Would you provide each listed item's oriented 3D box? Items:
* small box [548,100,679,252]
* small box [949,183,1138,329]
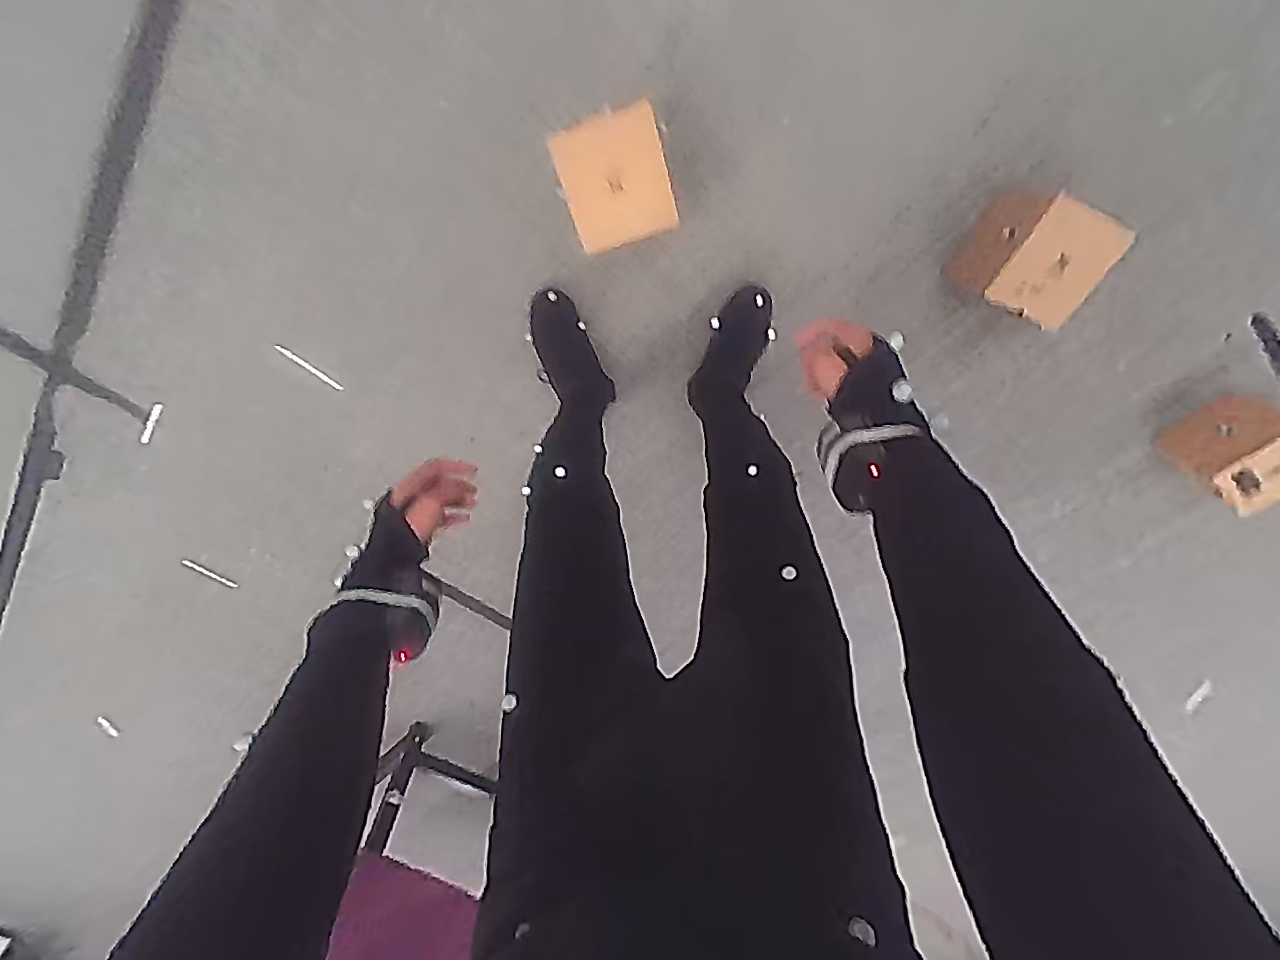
[{"bbox_3d":[-0.033,-0.510,0.902,0.168,0.176,0.179,-14,123,11],"label":"small box"},{"bbox_3d":[0.700,-0.404,0.964,0.168,0.176,0.179,20,122,-12],"label":"small box"}]
